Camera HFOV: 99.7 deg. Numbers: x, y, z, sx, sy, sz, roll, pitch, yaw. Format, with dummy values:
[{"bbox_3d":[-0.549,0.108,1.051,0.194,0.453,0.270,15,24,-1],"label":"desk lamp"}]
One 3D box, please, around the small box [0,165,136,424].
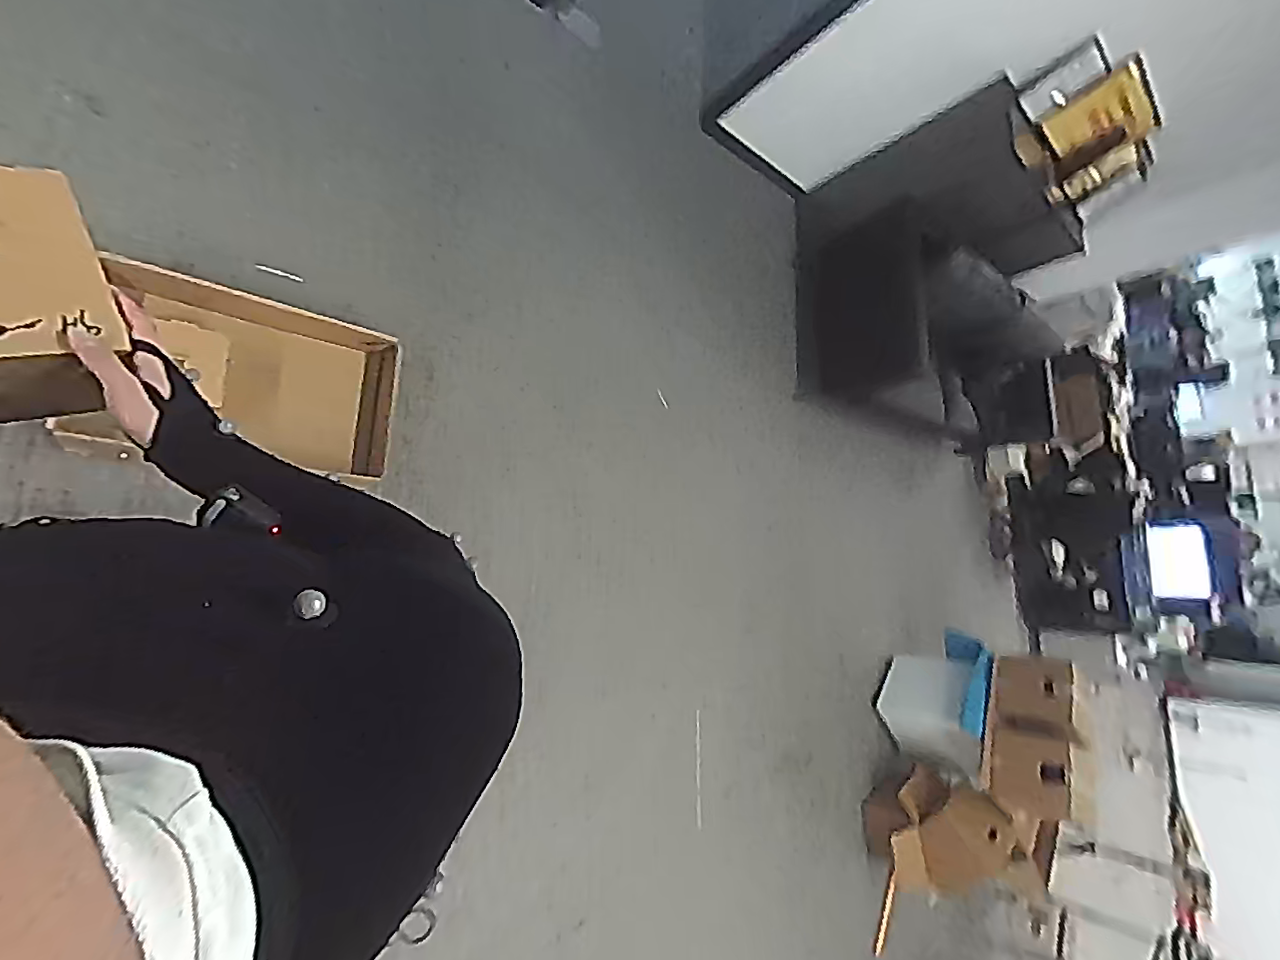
[{"bbox_3d":[-0.599,-0.160,0.491,0.168,0.176,0.179,-22,93,-45],"label":"small box"}]
